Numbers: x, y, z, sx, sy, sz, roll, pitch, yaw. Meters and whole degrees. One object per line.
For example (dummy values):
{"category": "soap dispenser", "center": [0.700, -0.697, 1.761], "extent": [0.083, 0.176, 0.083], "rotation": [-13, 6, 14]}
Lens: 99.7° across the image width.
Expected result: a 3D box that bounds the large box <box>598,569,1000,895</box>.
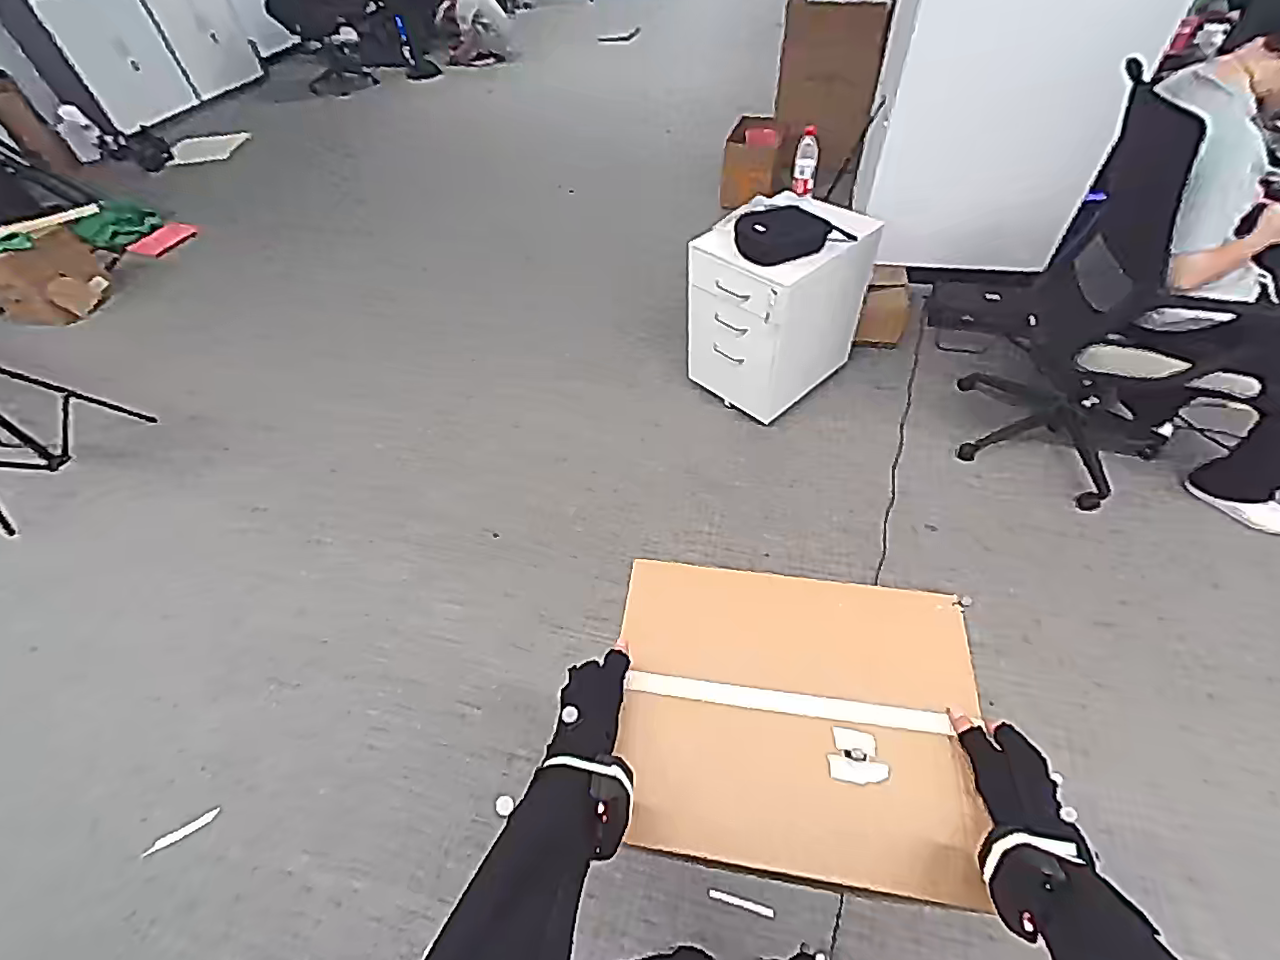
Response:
{"category": "large box", "center": [0.175, 0.345, 0.744], "extent": [0.408, 0.320, 0.320], "rotation": [5, 55, 7]}
